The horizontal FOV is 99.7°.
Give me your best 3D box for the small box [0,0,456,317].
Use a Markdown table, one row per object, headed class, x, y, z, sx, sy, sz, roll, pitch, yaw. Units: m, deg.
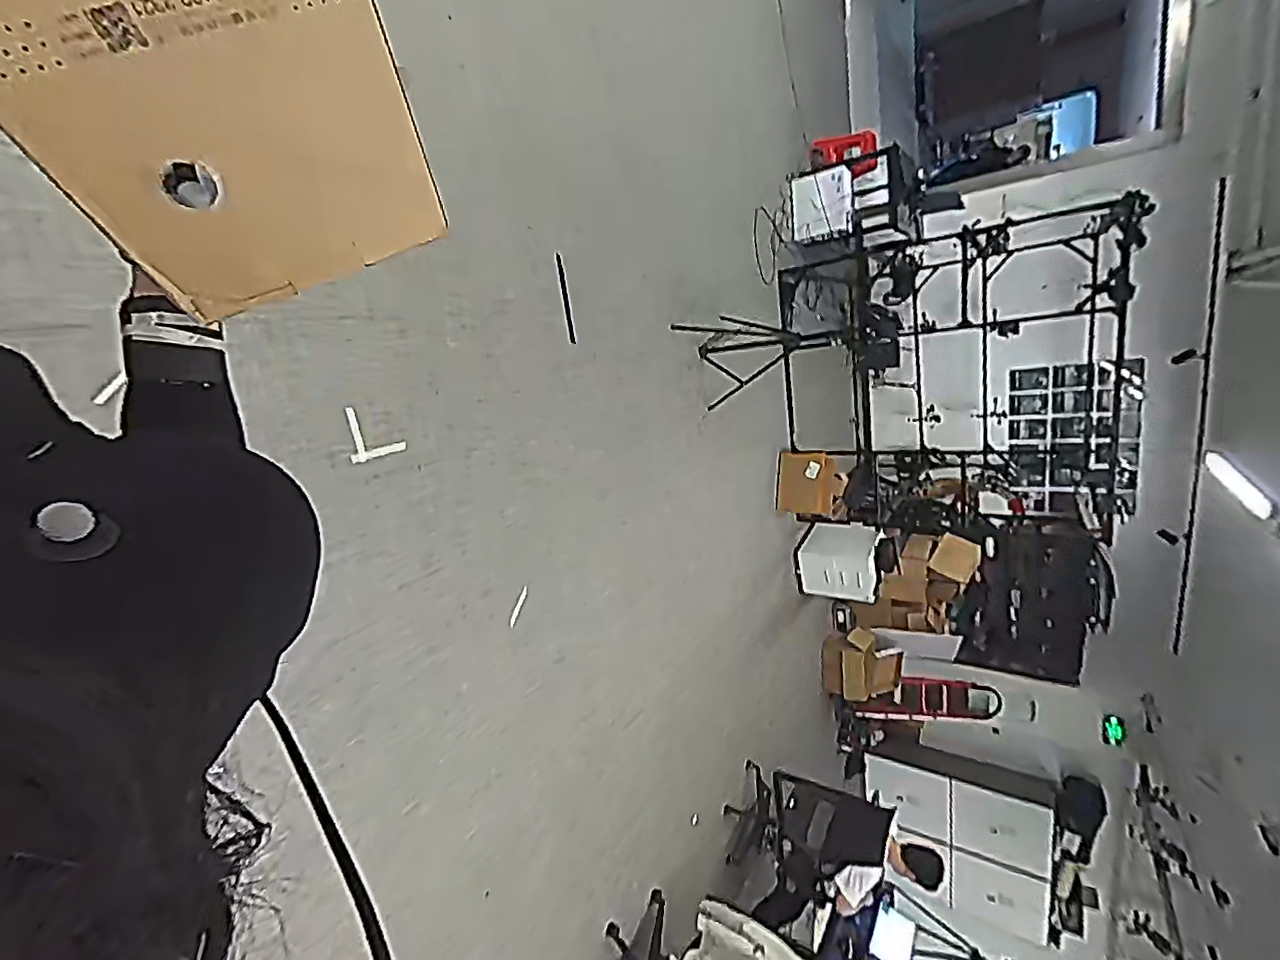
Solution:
| class | x | y | z | sx | sy | sz | roll | pitch | yaw |
| --- | --- | --- | --- | --- | --- | --- | --- | --- | --- |
| small box | -0.233 | -0.234 | 0.301 | 0.168 | 0.179 | 0.176 | -29 | 157 | -17 |
